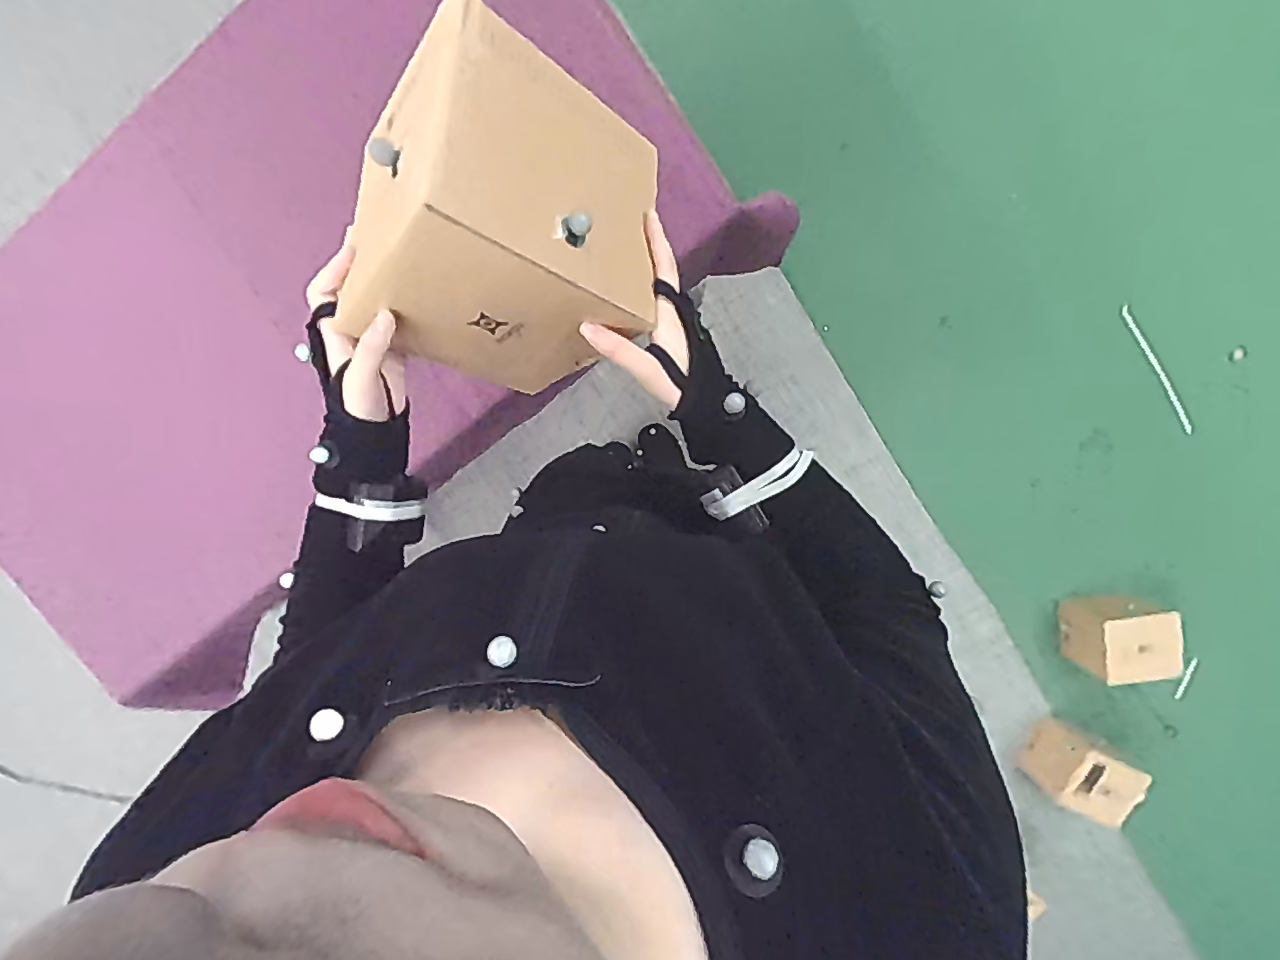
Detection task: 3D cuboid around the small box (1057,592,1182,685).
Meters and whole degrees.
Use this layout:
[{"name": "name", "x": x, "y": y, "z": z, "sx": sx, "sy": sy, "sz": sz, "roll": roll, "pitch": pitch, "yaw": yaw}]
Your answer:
[{"name": "small box", "x": 1.221, "y": 0.399, "z": 1.385, "sx": 0.179, "sy": 0.176, "sz": 0.168, "roll": -9, "pitch": 97, "yaw": 5}]
